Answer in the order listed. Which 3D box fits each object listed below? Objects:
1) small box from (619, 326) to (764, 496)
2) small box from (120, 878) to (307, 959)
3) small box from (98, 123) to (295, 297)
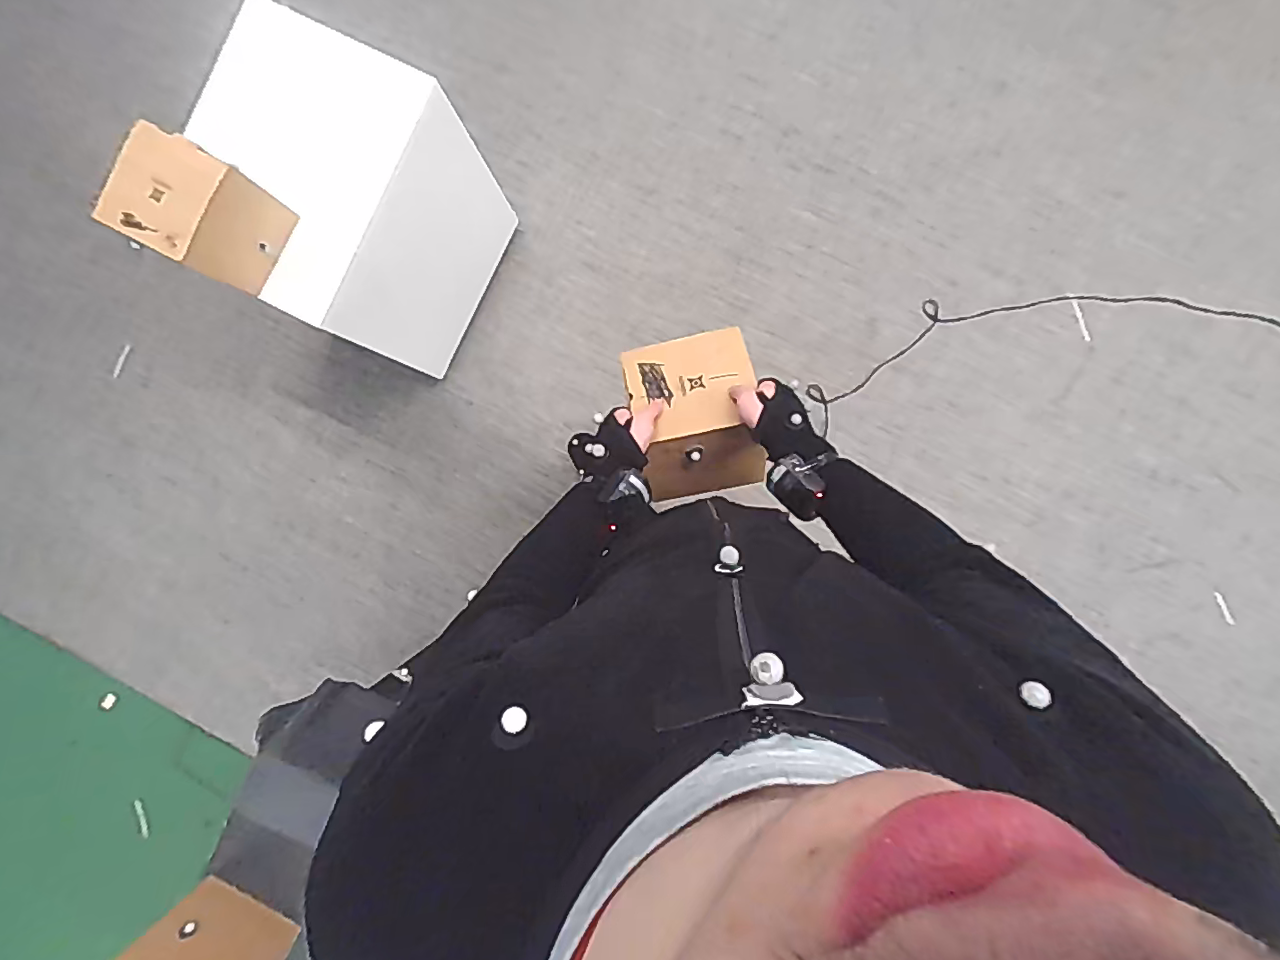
[{"bbox_3d":[0.077,-0.092,0.791,0.179,0.176,0.168,-11,60,5],"label":"small box"},{"bbox_3d":[-0.655,0.750,0.808,0.179,0.176,0.168,27,93,1],"label":"small box"},{"bbox_3d":[-0.739,-0.448,0.926,0.168,0.176,0.179,28,91,3],"label":"small box"}]
